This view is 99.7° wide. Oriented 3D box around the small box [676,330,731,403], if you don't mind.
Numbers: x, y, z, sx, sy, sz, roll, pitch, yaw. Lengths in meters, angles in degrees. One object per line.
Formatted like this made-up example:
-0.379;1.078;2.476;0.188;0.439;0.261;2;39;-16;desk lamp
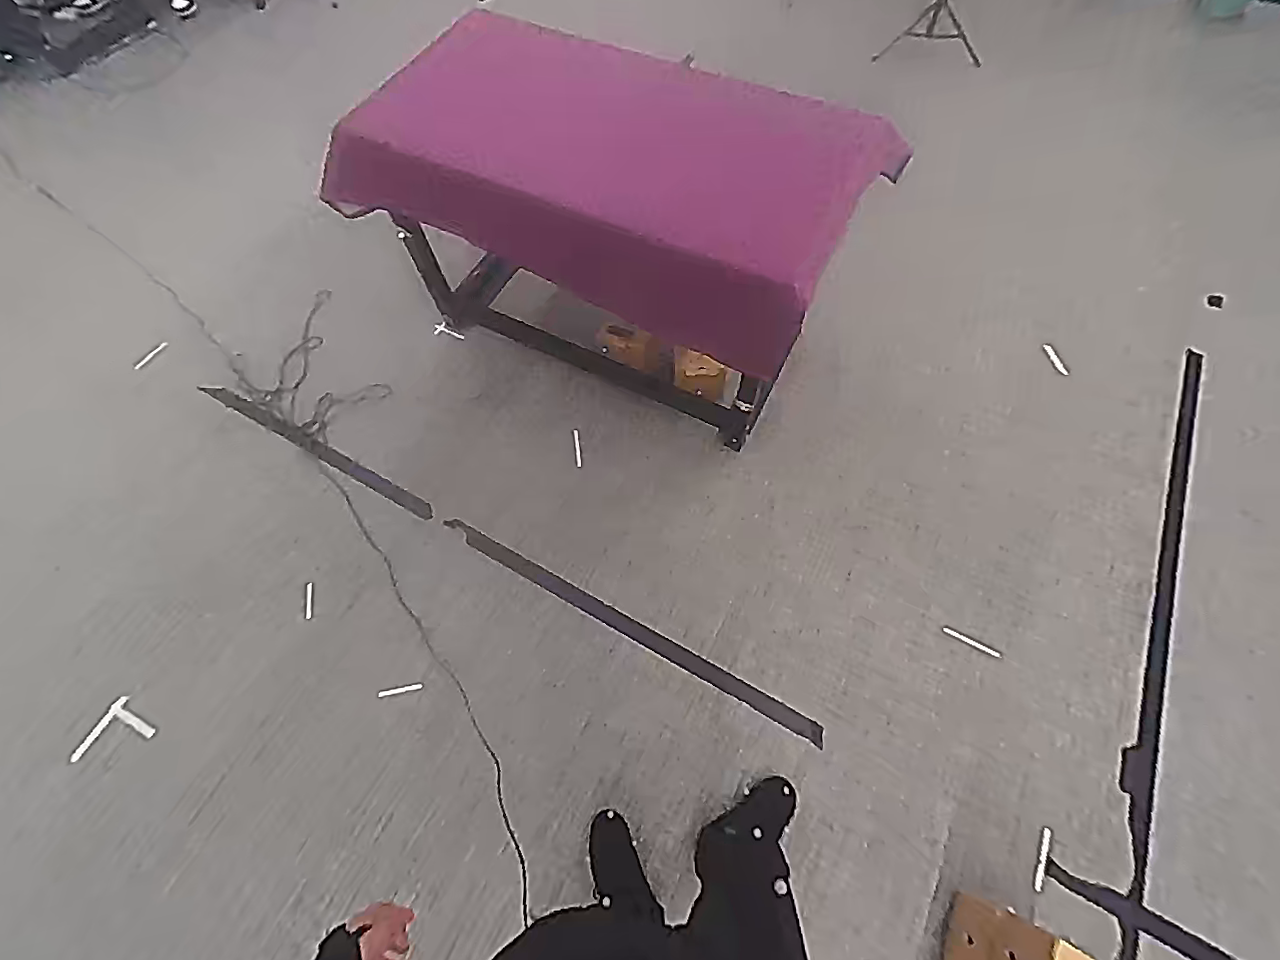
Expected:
0.204;-0.373;1.792;0.168;0.176;0.179;-1;64;2;small box

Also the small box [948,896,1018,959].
0.764;1.011;1.112;0.168;0.176;0.179;24;67;13;small box

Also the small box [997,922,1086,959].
0.770;0.944;0.964;0.179;0.176;0.168;27;69;15;small box
